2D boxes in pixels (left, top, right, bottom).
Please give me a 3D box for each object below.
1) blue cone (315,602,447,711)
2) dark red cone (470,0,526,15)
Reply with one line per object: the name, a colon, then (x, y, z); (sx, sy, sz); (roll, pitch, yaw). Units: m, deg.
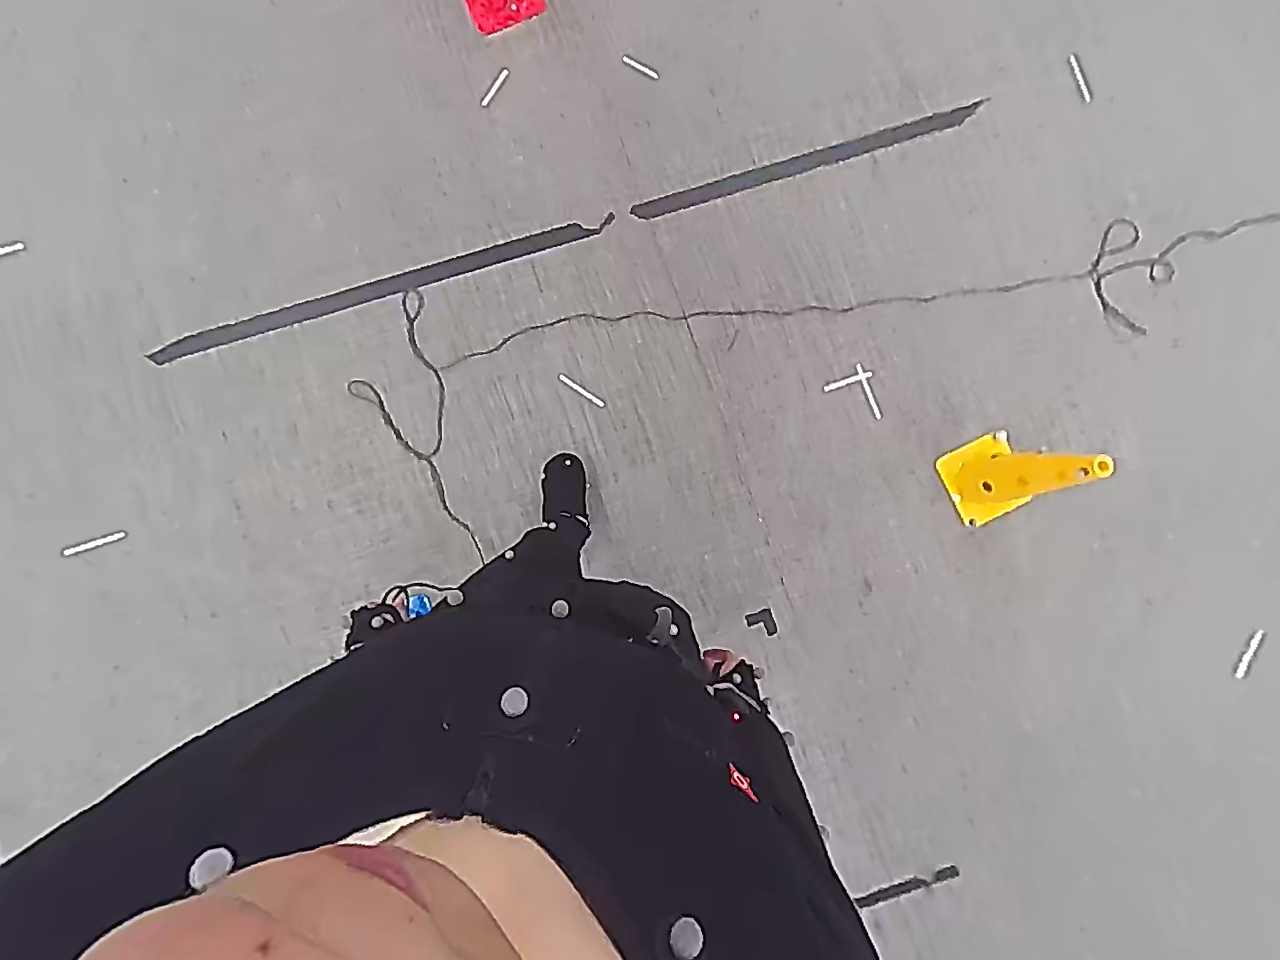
blue cone: (-0.583, 0.401, 1.166); (0.193, 0.380, 0.192); (-18, 88, -2)
dark red cone: (-0.369, -1.344, 1.261); (0.202, 0.394, 0.201); (-26, 88, -3)
